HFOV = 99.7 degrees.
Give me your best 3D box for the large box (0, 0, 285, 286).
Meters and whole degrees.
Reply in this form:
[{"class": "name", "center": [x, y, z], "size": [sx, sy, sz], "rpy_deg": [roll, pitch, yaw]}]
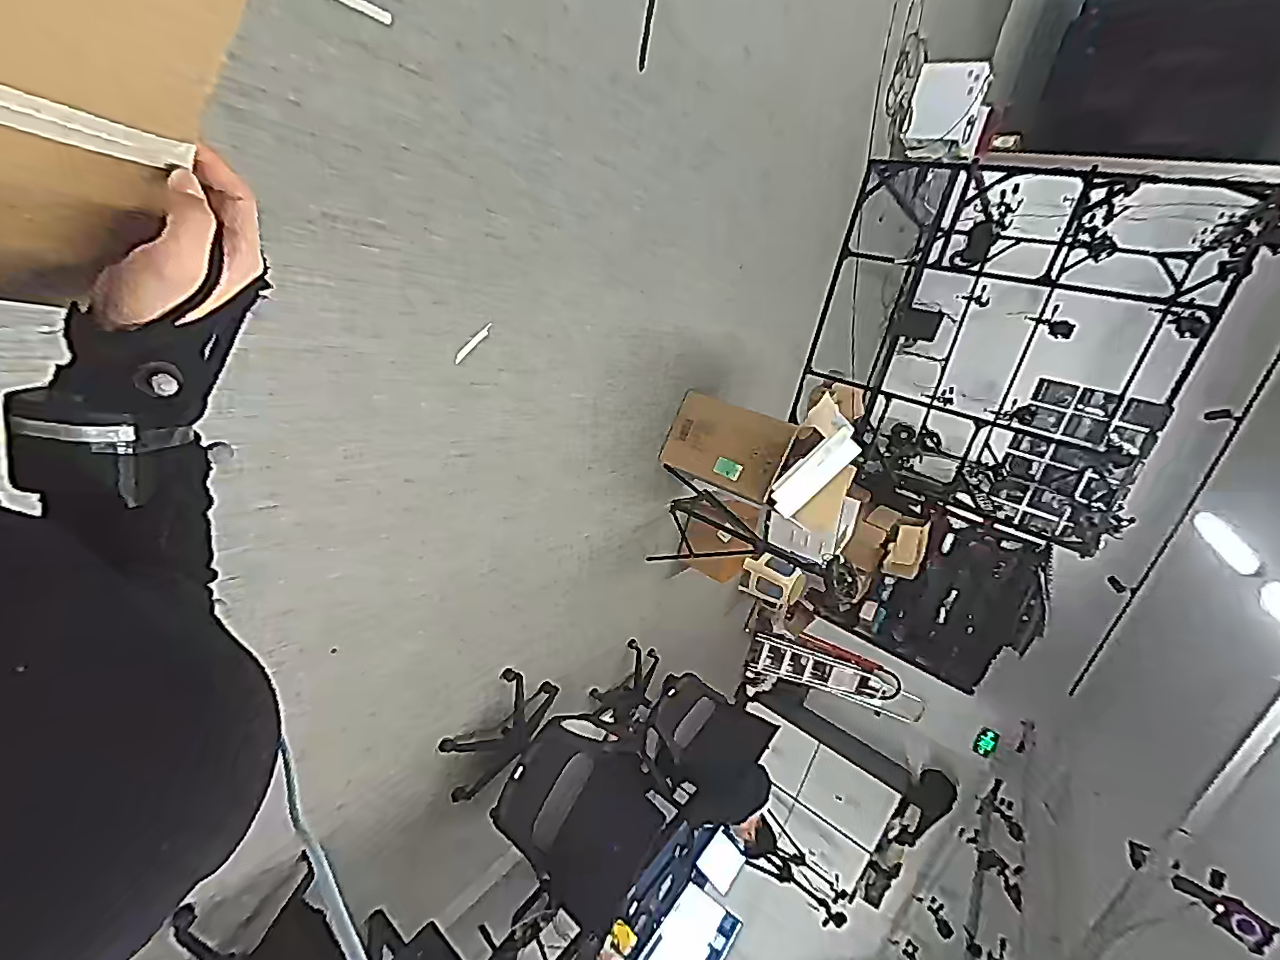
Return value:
[{"class": "large box", "center": [-0.375, -0.304, 0.137], "size": [0.408, 0.320, 0.320], "rpy_deg": [-9, 76, -55]}]
